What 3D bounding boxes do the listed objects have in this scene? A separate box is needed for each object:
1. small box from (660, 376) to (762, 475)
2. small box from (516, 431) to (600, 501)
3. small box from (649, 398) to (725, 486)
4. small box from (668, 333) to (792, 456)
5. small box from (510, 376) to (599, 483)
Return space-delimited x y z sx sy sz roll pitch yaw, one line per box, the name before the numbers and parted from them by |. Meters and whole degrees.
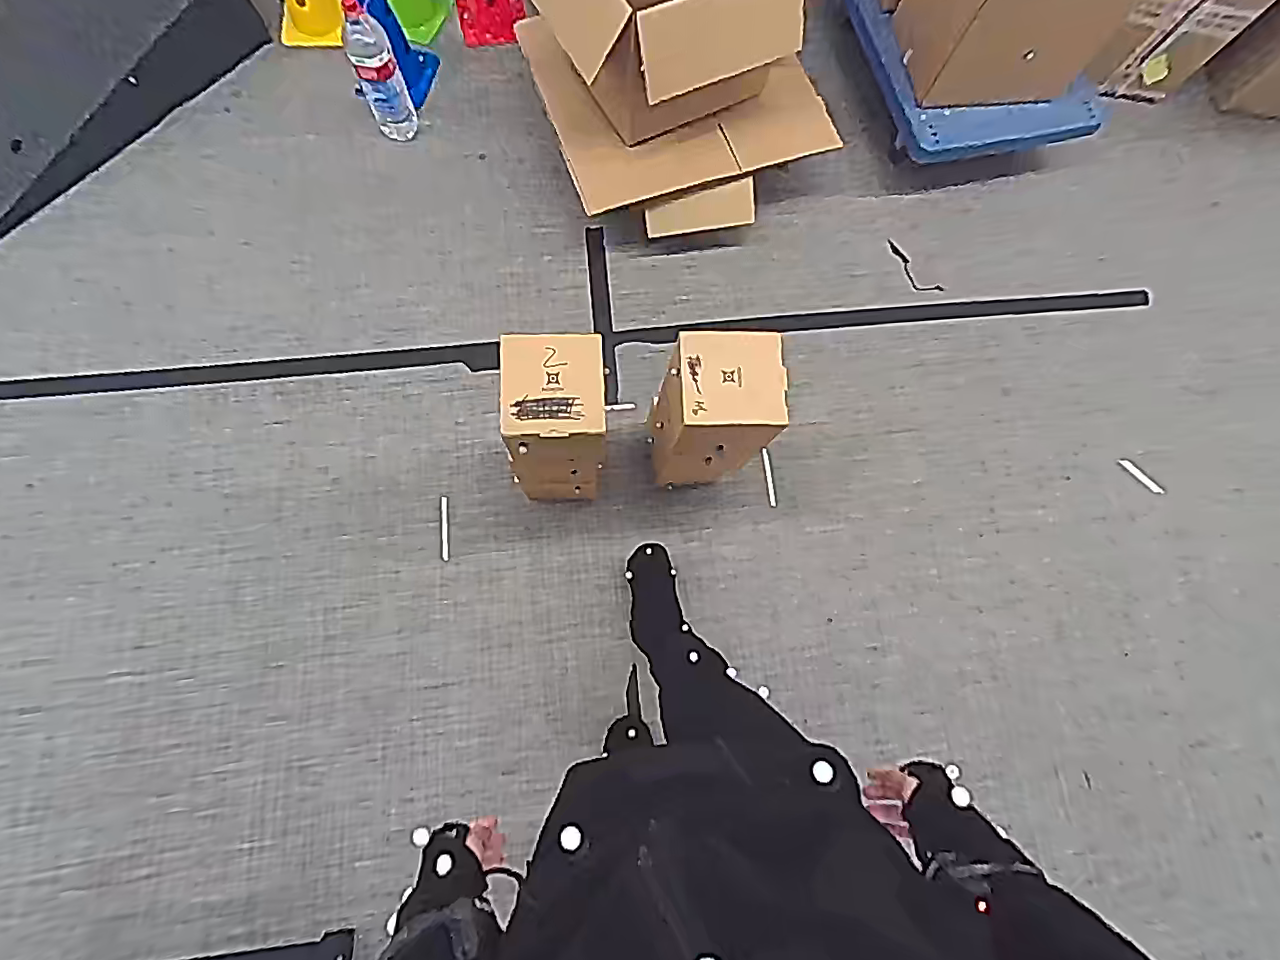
small box | 0.137 -0.109 1.117 0.179 0.176 0.168 -3 78 -6
small box | -0.183 -0.048 1.247 0.179 0.176 0.168 1 76 -5
small box | 0.116 -0.087 1.280 0.168 0.176 0.179 -5 77 -7
small box | 0.150 -0.143 0.957 0.179 0.176 0.168 0 77 -6
small box | -0.167 -0.094 1.092 0.168 0.176 0.179 -1 75 -7
